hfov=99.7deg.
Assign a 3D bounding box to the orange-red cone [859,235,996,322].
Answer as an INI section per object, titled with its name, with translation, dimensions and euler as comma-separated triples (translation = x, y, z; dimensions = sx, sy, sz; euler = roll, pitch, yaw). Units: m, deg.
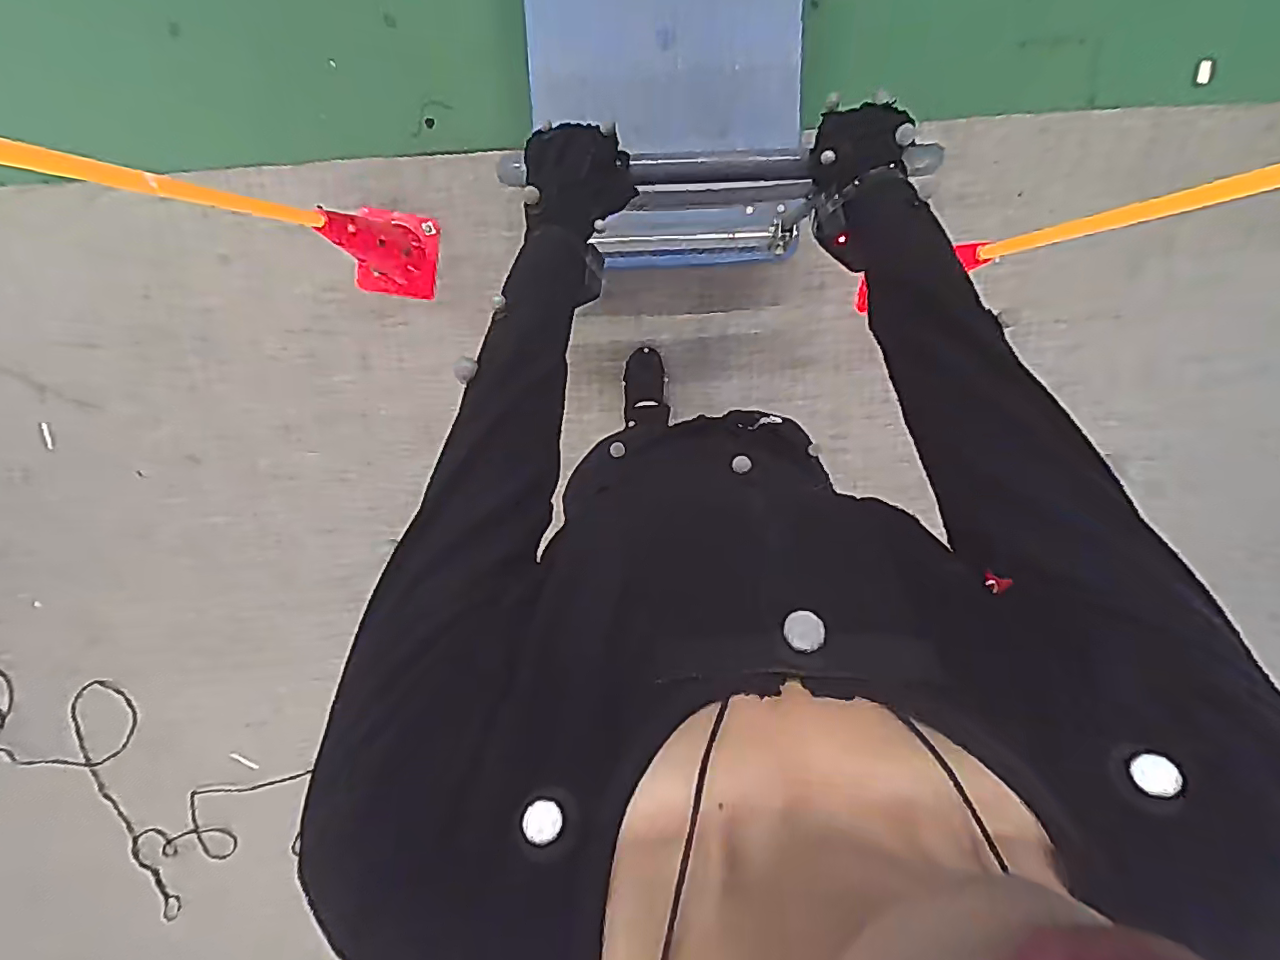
[orange-red cone]
translation = 0.678, -0.481, 1.227
dimensions = 0.198, 0.360, 0.199
euler = 7, 103, -2
